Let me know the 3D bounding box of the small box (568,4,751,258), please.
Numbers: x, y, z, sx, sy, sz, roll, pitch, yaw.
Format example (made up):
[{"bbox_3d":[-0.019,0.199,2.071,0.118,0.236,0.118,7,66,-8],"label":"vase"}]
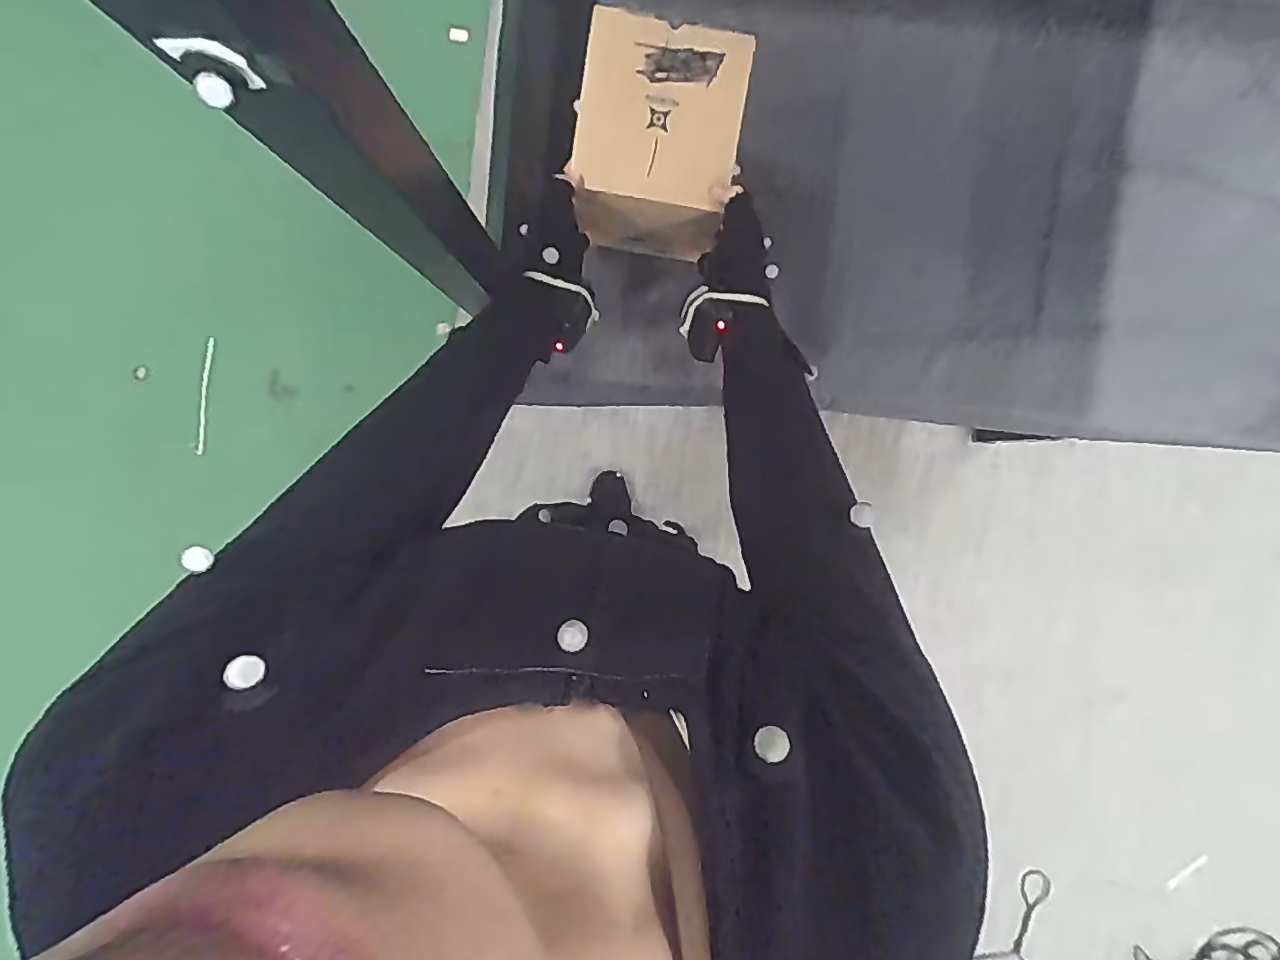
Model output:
[{"bbox_3d":[0.017,-0.384,0.629,0.168,0.176,0.179,9,95,-2],"label":"small box"}]
